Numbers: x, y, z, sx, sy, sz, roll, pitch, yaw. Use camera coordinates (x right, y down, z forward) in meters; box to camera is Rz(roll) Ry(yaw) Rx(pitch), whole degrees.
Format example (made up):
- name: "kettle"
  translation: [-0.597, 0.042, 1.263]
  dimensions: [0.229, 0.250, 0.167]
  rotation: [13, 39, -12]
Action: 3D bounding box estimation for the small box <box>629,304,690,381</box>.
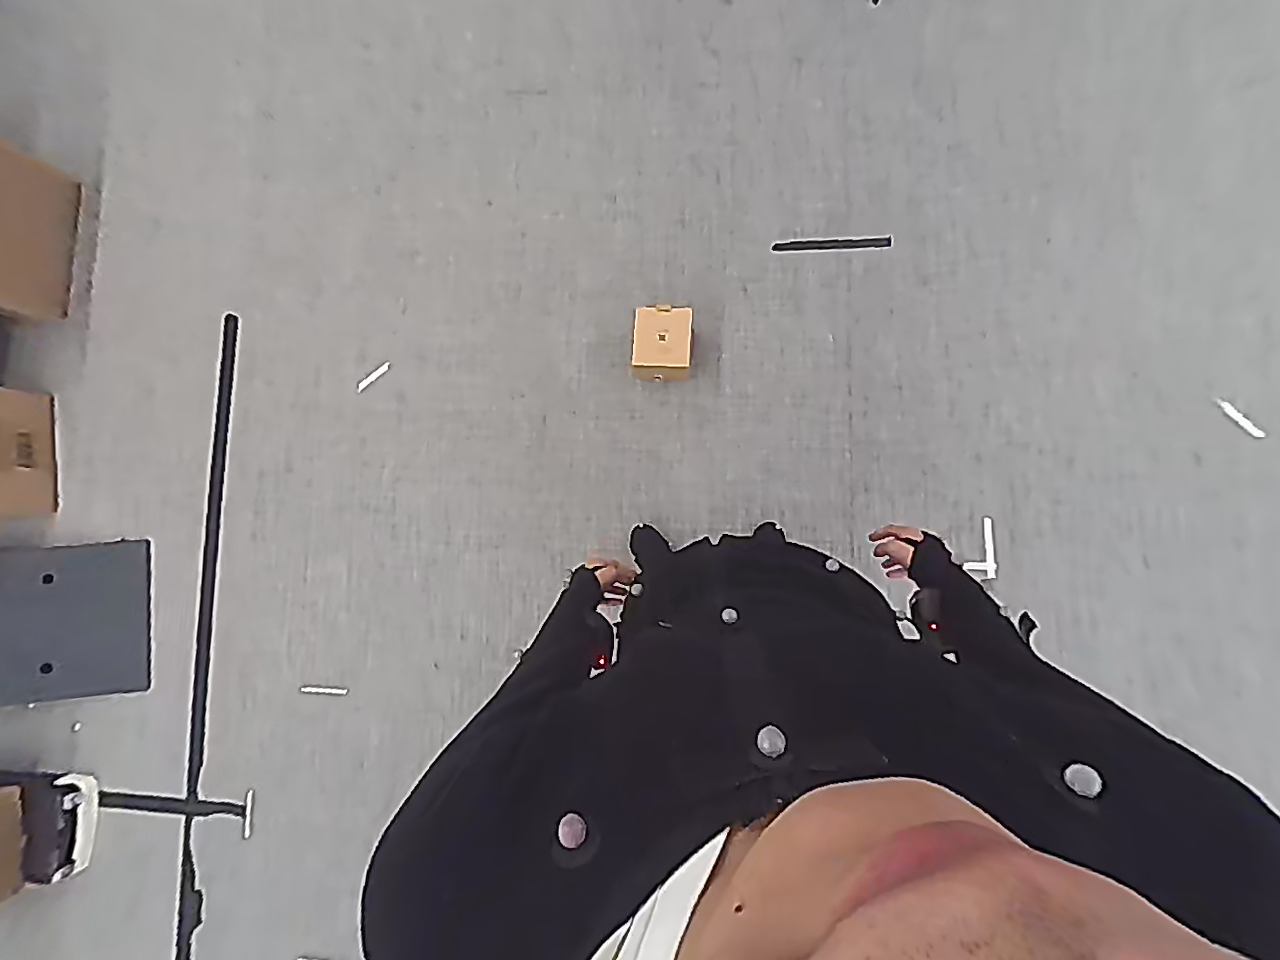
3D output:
- name: "small box"
  translation: [0.062, -0.408, 1.615]
  dimensions: [0.168, 0.176, 0.179]
  rotation: [3, 85, 6]
